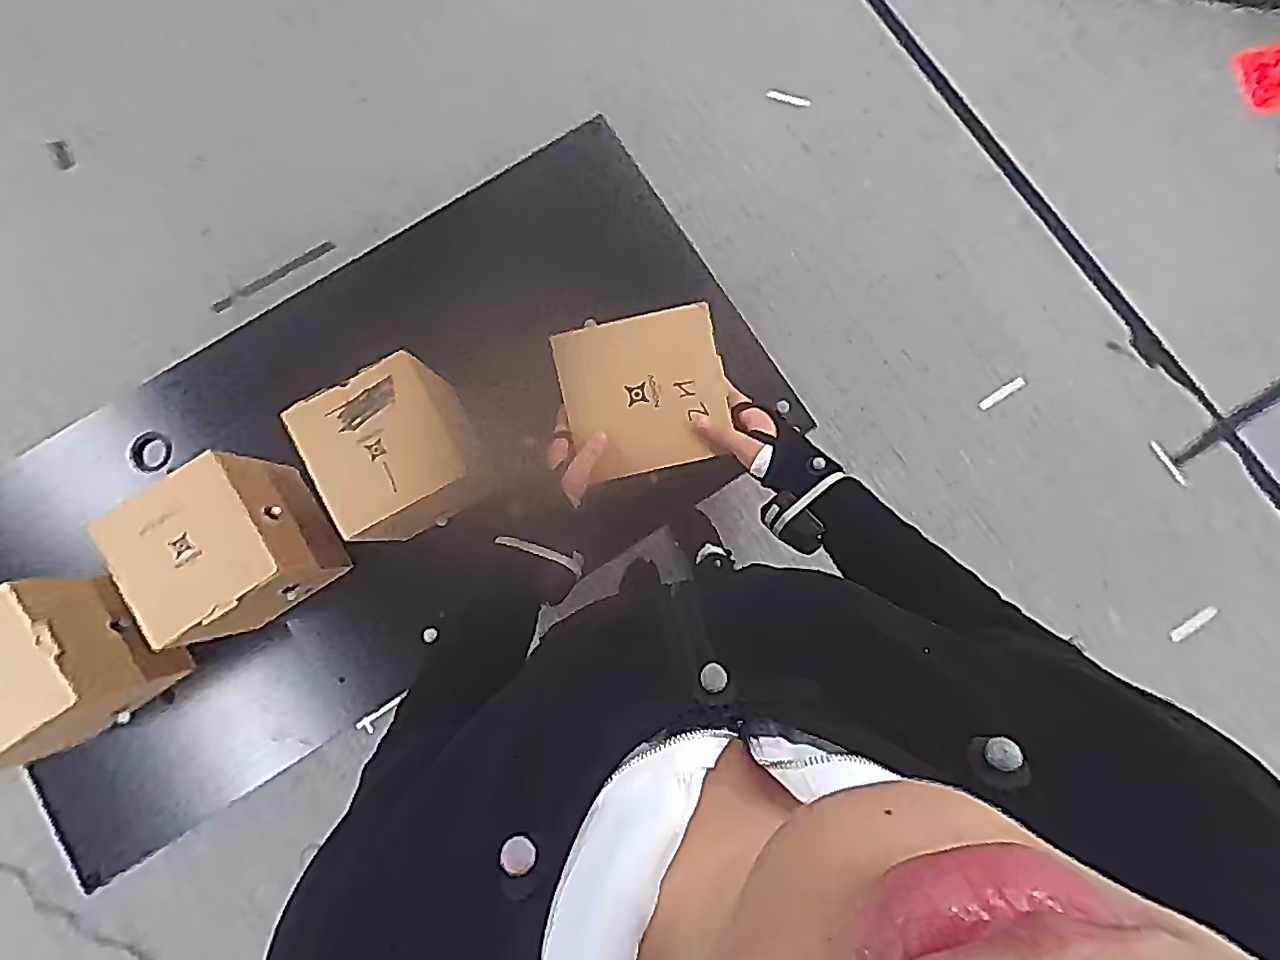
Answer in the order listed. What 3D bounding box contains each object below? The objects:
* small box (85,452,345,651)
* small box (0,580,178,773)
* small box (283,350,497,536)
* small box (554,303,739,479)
[{"bbox_3d":[-0.529,0.089,0.702,0.168,0.176,0.179,-34,84,-5],"label":"small box"},{"bbox_3d":[-0.743,0.239,0.682,0.179,0.176,0.168,-35,85,-5],"label":"small box"},{"bbox_3d":[-0.314,-0.035,0.714,0.168,0.176,0.179,-29,85,-4],"label":"small box"},{"bbox_3d":[0.007,-0.097,0.656,0.179,0.176,0.168,-11,93,-1],"label":"small box"}]
